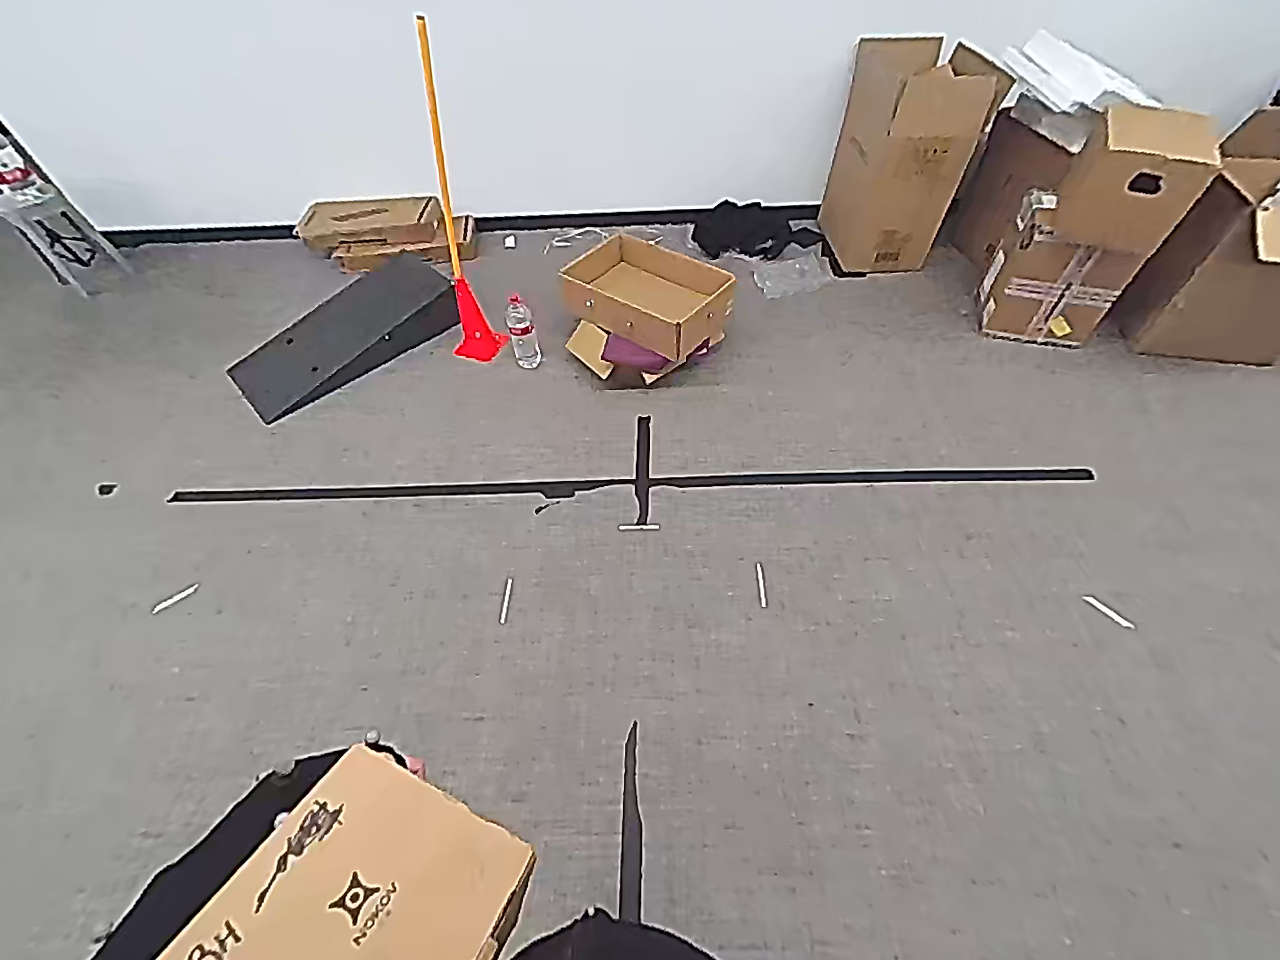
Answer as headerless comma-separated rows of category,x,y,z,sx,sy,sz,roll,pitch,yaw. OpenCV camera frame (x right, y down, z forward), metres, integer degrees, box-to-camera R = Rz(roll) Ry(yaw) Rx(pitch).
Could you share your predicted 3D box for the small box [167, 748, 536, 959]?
small box,-0.206,0.357,0.419,0.179,0.176,0.168,24,36,10
